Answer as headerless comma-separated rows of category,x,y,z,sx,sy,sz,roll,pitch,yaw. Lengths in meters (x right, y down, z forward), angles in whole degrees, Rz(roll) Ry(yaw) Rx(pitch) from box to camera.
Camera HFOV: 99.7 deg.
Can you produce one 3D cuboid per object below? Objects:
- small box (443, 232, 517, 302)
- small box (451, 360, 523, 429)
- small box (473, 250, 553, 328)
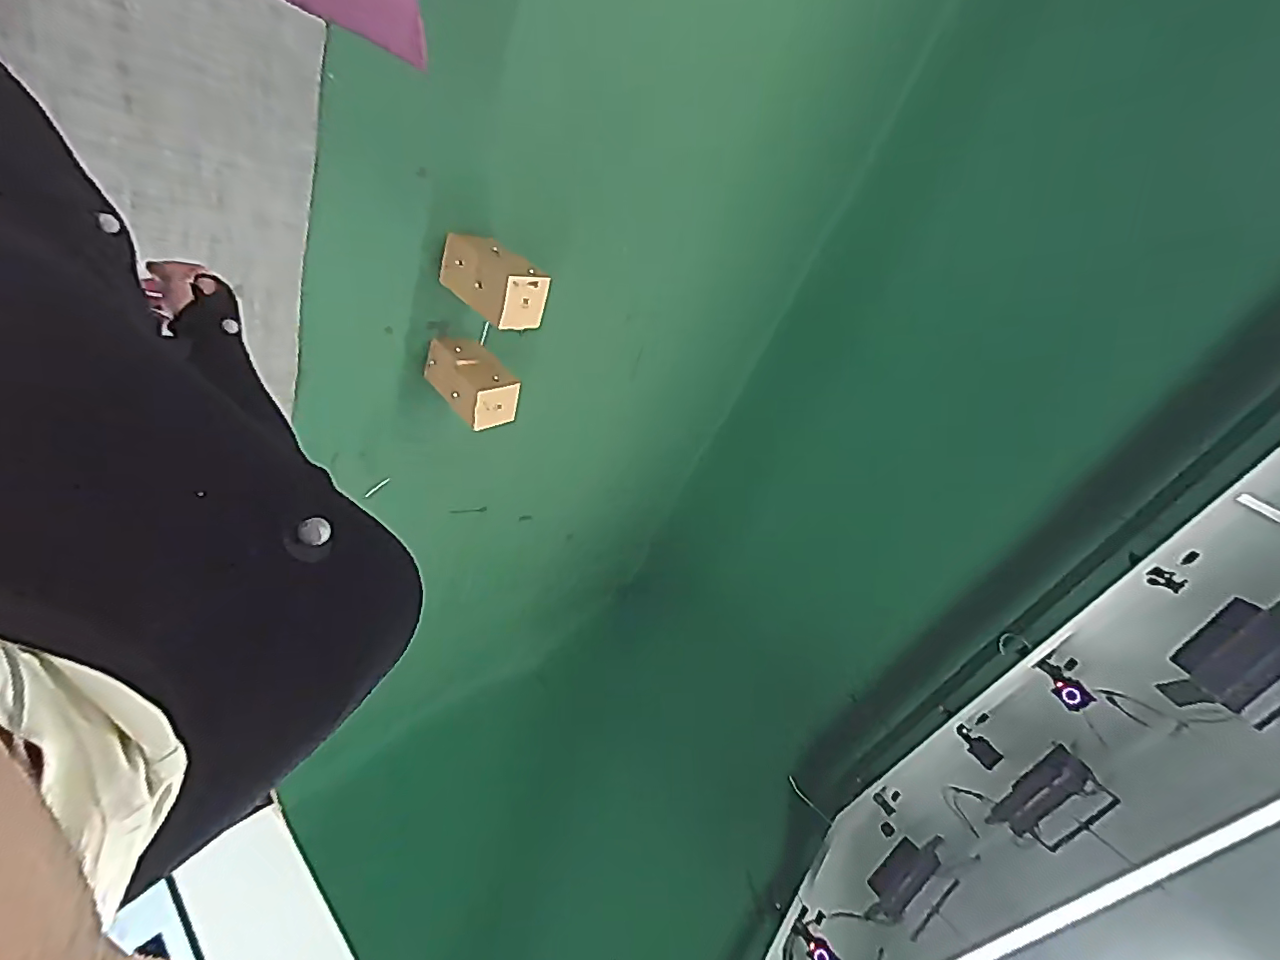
small box,-0.524,-0.699,1.788,0.179,0.176,0.168,-19,142,-49
small box,-0.546,-0.311,1.922,0.179,0.176,0.168,-24,146,-42
small box,-0.409,-0.604,1.720,0.168,0.176,0.179,-21,144,-47
